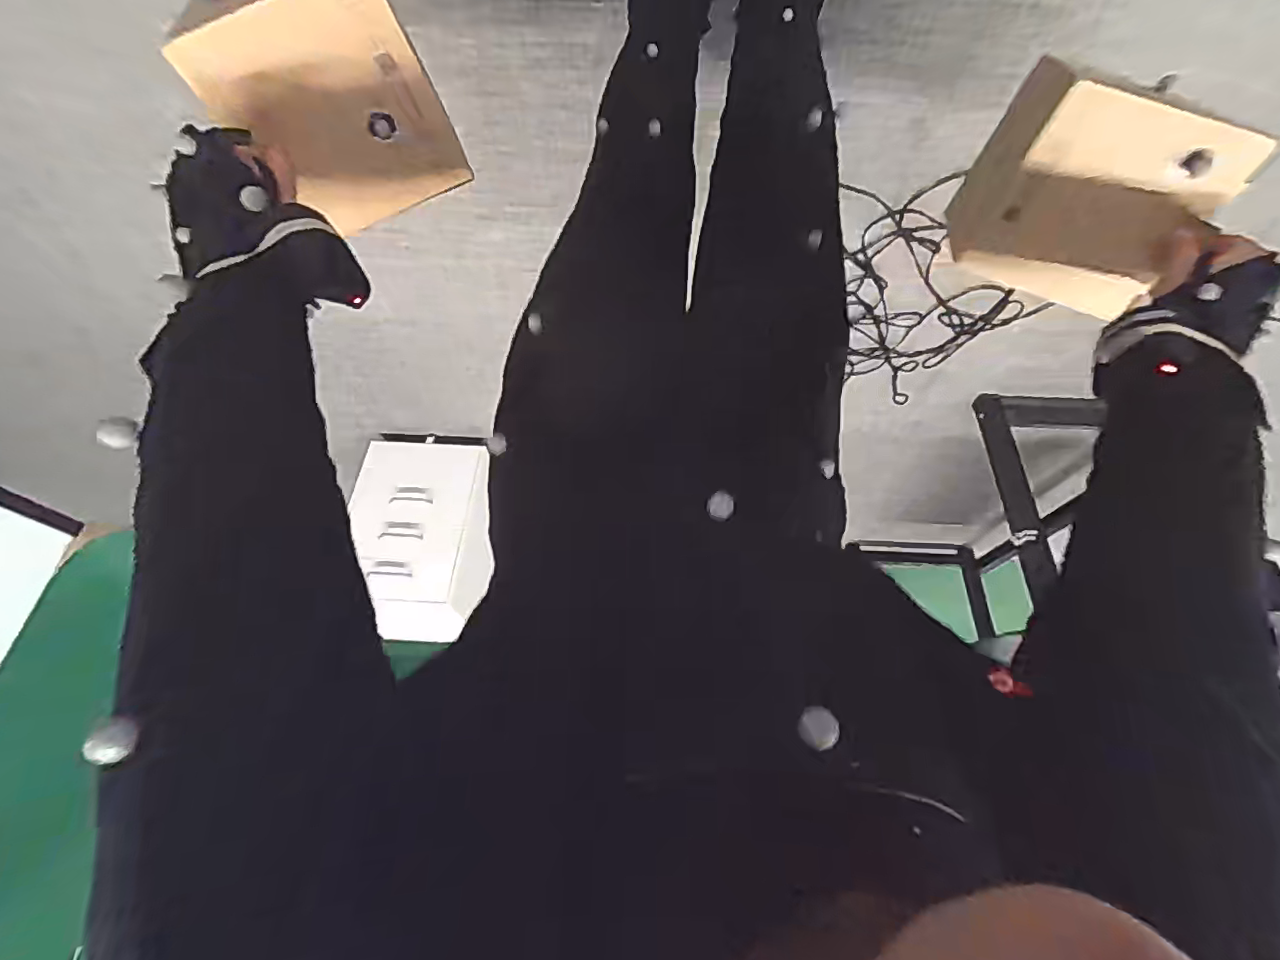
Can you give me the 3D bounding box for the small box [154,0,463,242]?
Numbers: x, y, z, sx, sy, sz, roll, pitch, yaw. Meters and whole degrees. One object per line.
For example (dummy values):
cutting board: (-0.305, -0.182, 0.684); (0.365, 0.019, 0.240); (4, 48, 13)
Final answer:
small box: (-0.284, -0.364, 0.501); (0.176, 0.179, 0.168); (-25, 145, -1)
